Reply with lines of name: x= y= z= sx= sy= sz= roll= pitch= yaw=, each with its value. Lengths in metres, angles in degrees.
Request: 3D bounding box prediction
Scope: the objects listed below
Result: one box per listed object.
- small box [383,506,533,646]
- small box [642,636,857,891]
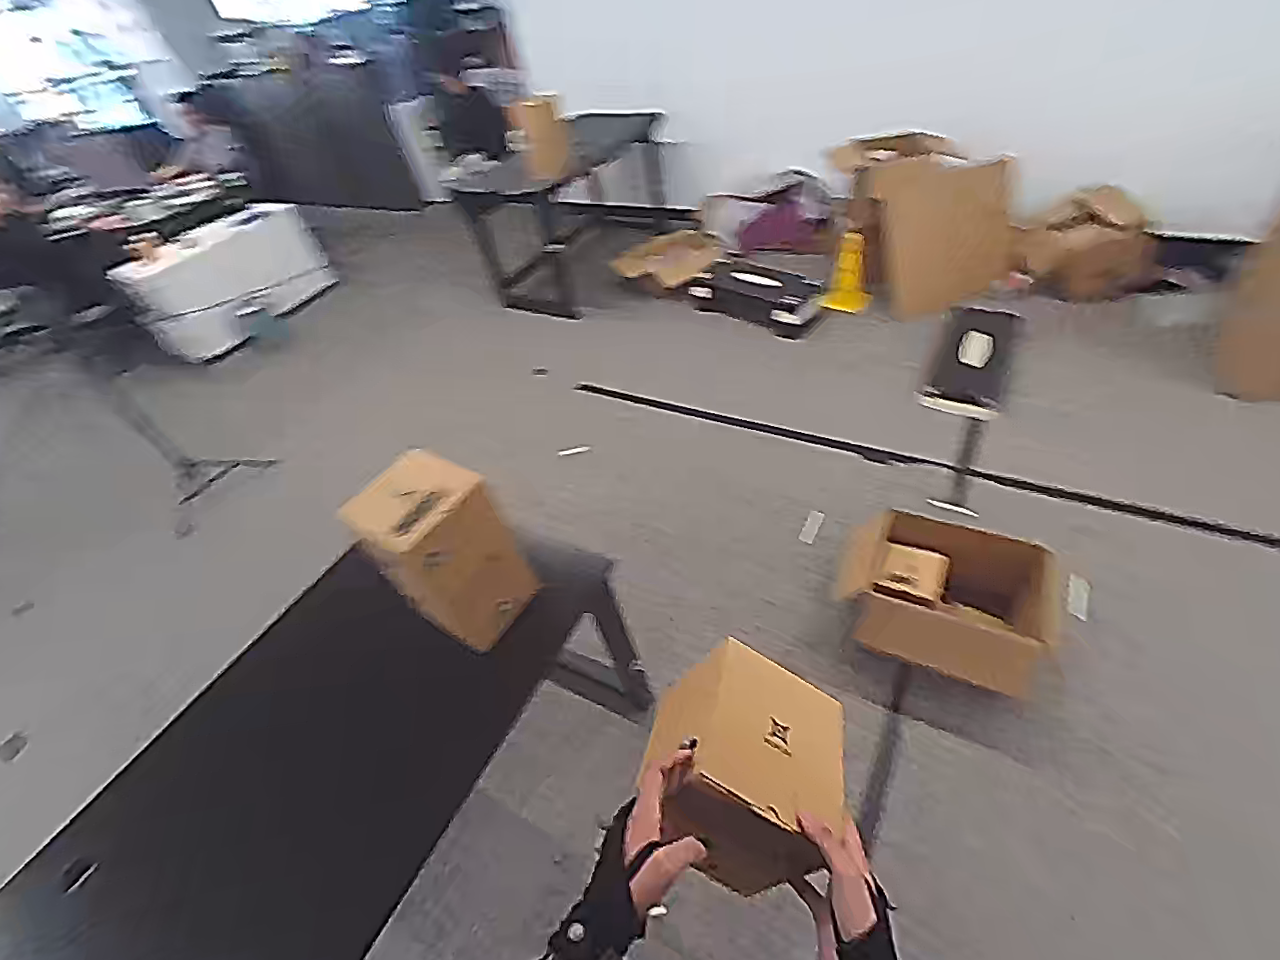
small box: x=-0.335 y=0.184 z=1.022 sx=0.179 sy=0.176 sz=0.168 roll=21 pitch=56 yaw=28
small box: x=0.122 y=0.321 z=0.617 sx=0.168 sy=0.176 sz=0.179 roll=32 pitch=38 yaw=-2
